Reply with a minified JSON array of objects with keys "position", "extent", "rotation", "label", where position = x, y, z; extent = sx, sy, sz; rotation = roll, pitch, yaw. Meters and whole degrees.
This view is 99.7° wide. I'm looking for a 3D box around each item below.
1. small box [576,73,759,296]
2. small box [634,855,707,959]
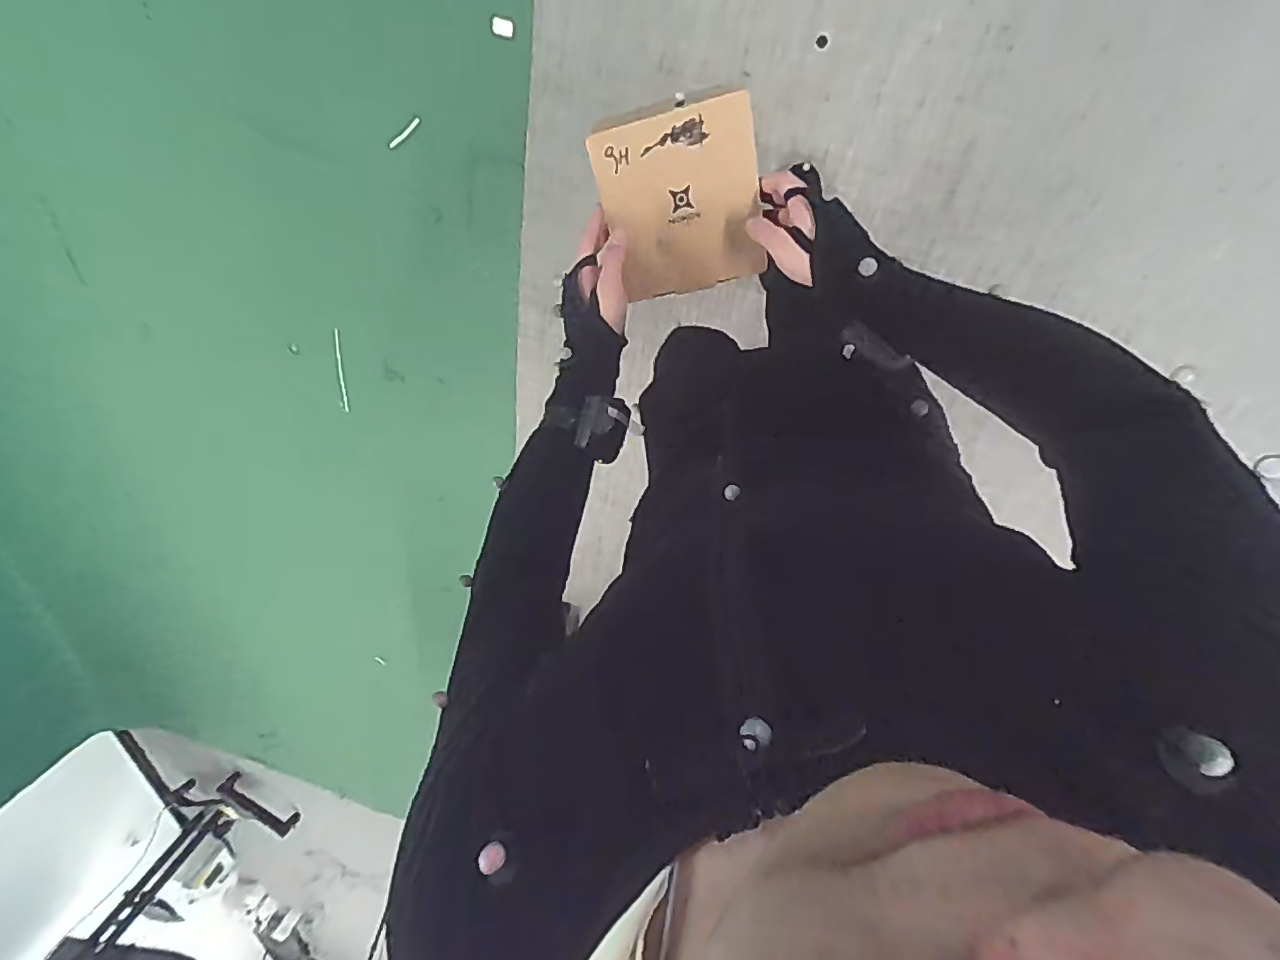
[{"position":[0.038,-0.341,0.623],"extent":[0.168,0.176,0.179],"rotation":[-10,127,10],"label":"small box"},{"position":[0.091,1.231,1.561],"extent":[0.168,0.176,0.179],"rotation":[13,123,8],"label":"small box"}]
